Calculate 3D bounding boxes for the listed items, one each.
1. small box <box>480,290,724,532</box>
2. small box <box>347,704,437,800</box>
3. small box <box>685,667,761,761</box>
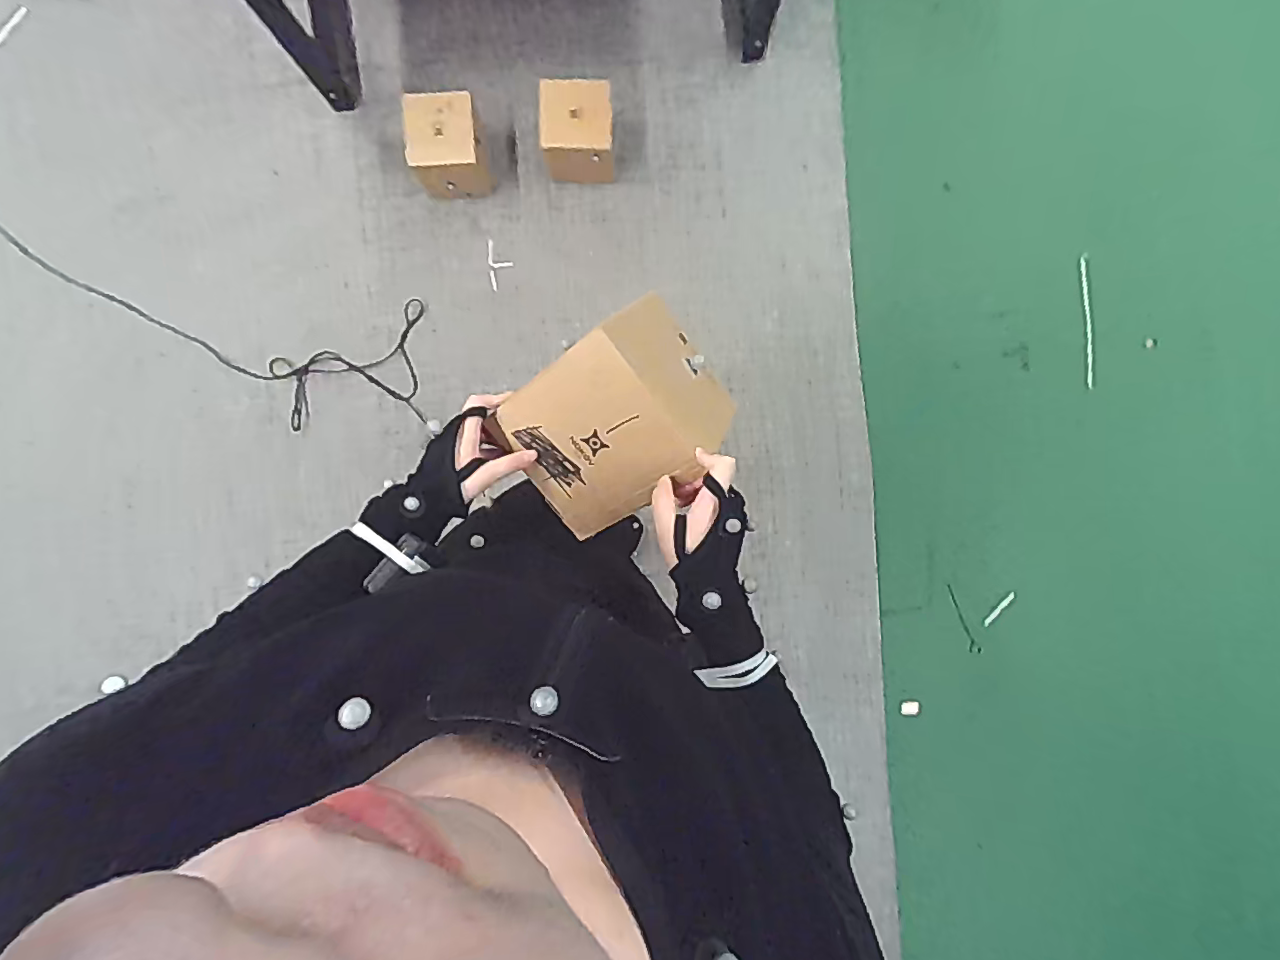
[{"bbox_3d":[-0.030,-0.079,0.592,0.179,0.176,0.168,-31,105,31],"label":"small box"},{"bbox_3d":[-0.639,0.698,1.407,0.168,0.176,0.179,-2,90,-1],"label":"small box"},{"bbox_3d":[0.213,0.607,1.428,0.168,0.176,0.179,-6,91,0],"label":"small box"}]
